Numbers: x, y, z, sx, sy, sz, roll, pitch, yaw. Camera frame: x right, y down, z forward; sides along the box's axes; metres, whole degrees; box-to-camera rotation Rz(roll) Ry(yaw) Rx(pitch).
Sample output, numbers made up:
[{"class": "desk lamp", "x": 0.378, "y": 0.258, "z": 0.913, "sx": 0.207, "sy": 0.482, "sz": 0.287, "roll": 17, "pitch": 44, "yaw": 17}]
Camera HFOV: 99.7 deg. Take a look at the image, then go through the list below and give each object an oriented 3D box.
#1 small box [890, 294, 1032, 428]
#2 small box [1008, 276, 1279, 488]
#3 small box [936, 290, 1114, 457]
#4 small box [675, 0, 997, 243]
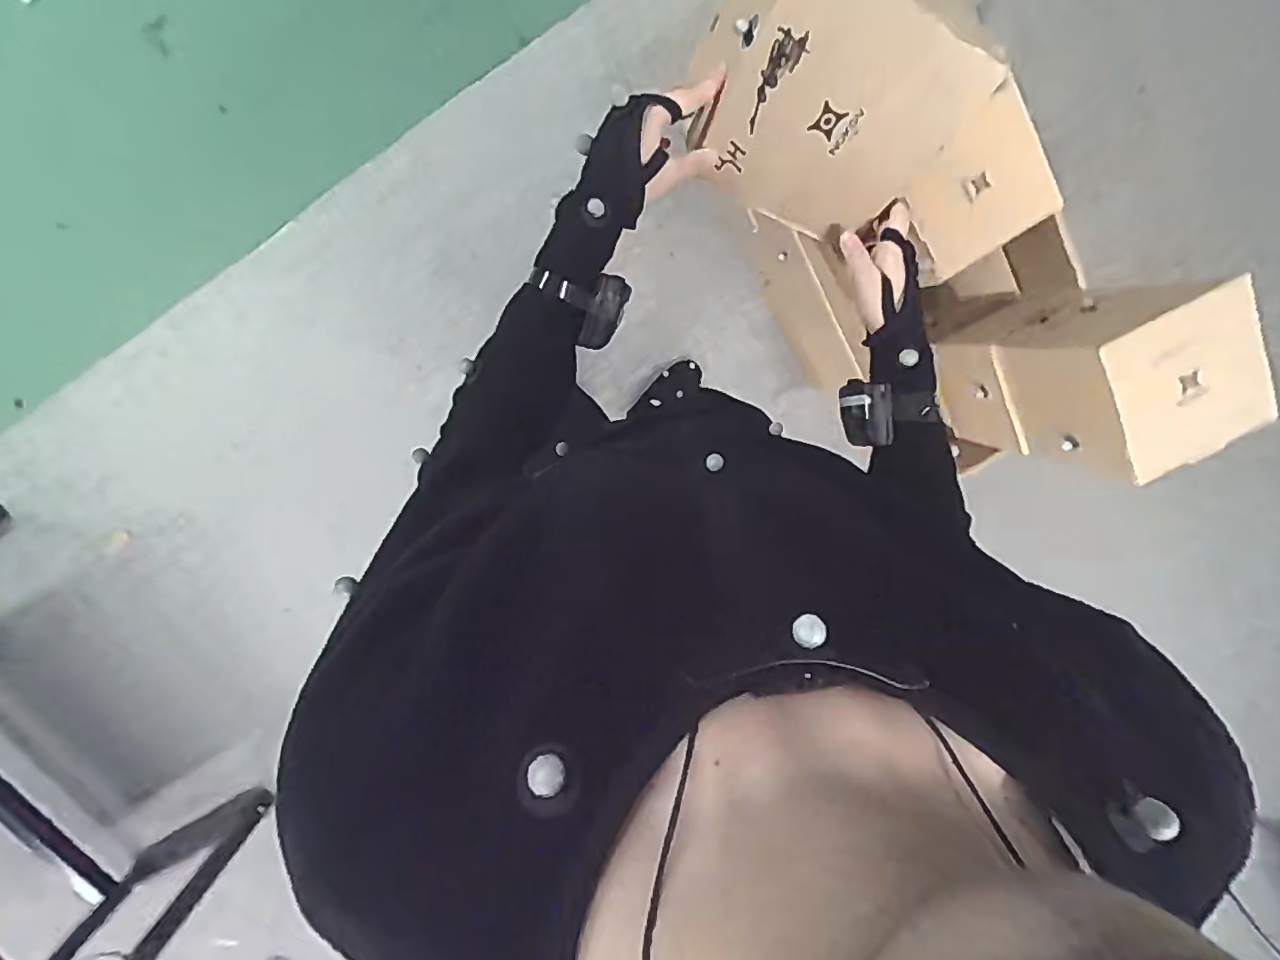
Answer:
[{"class": "small box", "x": 0.572, "y": -0.209, "z": 0.960, "sx": 0.179, "sy": 0.176, "sz": 0.168, "roll": -25, "pitch": 103, "yaw": 5}, {"class": "small box", "x": 0.592, "y": -0.118, "z": 0.646, "sx": 0.168, "sy": 0.176, "sz": 0.179, "roll": -27, "pitch": 102, "yaw": 5}, {"class": "small box", "x": 0.579, "y": -0.157, "z": 0.804, "sx": 0.168, "sy": 0.176, "sz": 0.179, "roll": -26, "pitch": 103, "yaw": 6}, {"class": "small box", "x": 0.142, "y": -0.344, "z": 0.452, "sx": 0.179, "sy": 0.176, "sz": 0.168, "roll": 14, "pitch": 145, "yaw": -20}]
